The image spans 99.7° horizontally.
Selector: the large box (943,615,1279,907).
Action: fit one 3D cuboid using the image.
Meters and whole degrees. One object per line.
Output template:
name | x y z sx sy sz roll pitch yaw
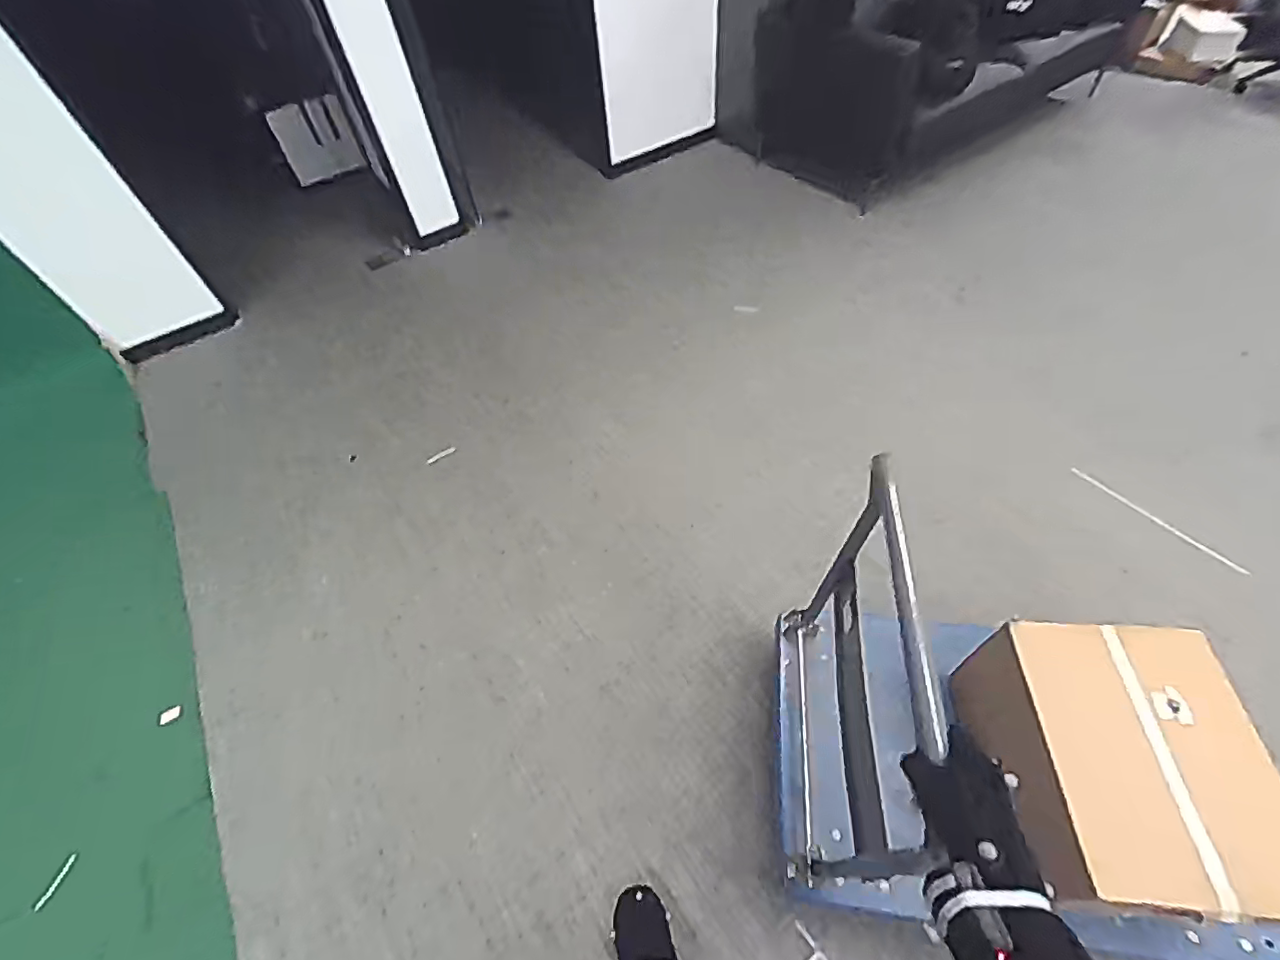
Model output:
large box | 0.798 0.499 0.969 0.320 0.320 0.408 2 52 7
